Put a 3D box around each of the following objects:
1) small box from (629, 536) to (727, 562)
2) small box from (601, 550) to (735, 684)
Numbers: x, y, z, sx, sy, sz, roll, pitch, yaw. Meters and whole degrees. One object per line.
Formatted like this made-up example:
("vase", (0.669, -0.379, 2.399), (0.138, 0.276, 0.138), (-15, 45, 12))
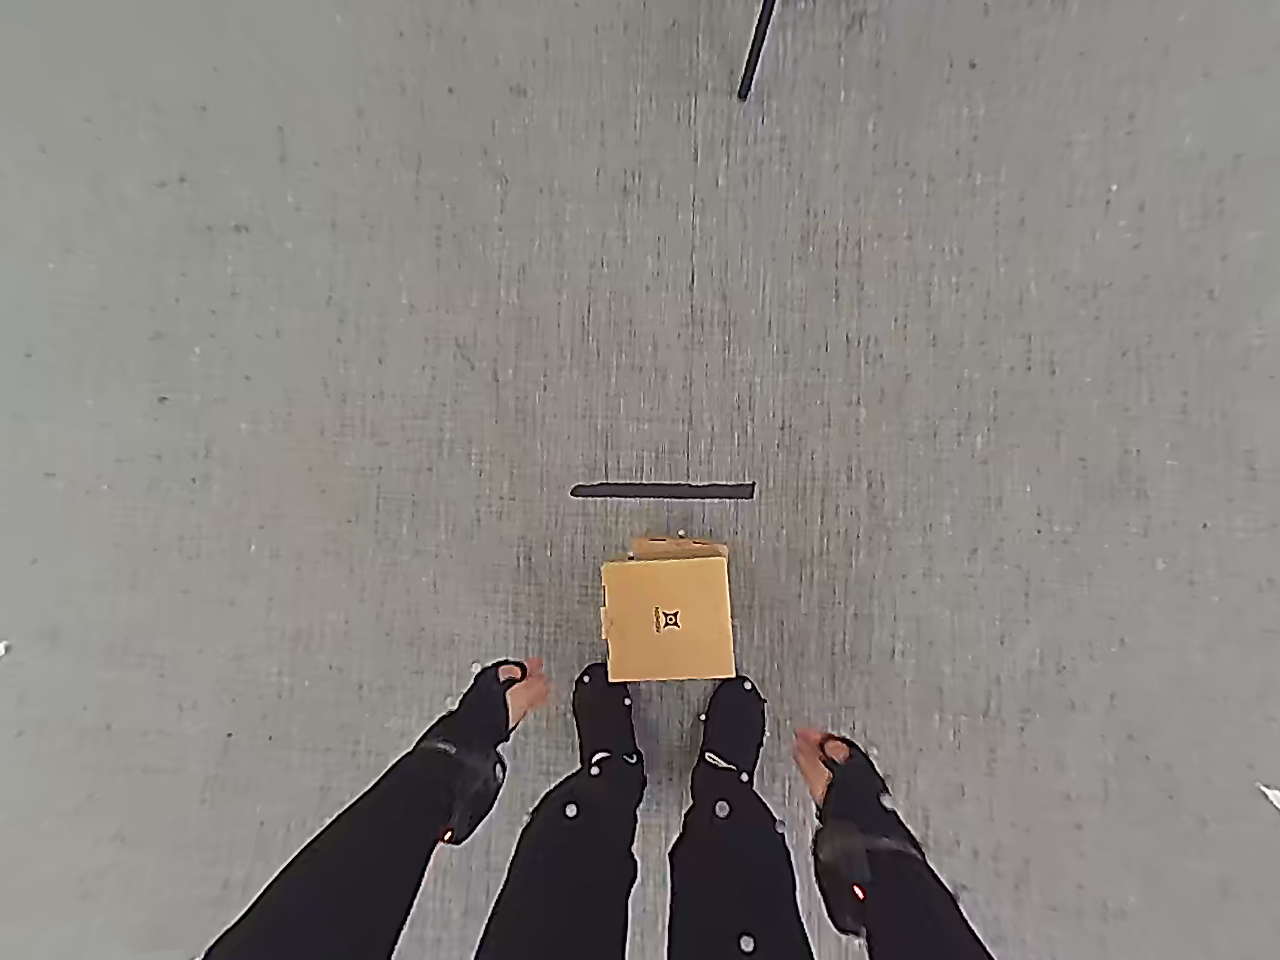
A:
("small box", (0.065, 0.198, 0.979), (0.168, 0.176, 0.179), (4, 86, 5))
("small box", (0.044, 0.197, 0.817), (0.179, 0.176, 0.168), (-5, 86, 6))
